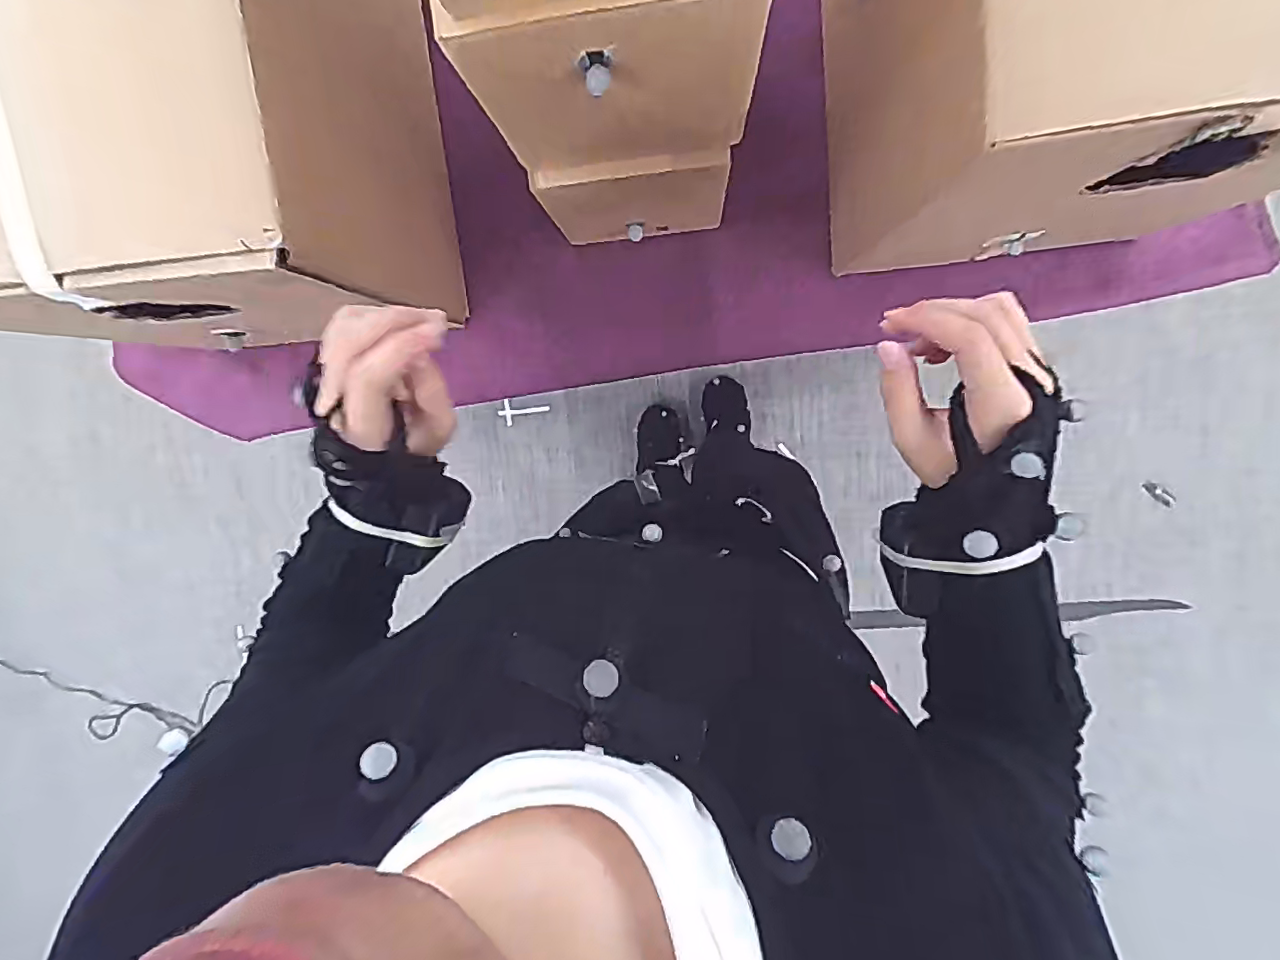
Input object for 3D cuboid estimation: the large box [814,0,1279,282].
[{"bbox_3d":[0.319,-0.402,0.394,0.320,0.320,0.408,-6,97,5],"label":"large box"}]
